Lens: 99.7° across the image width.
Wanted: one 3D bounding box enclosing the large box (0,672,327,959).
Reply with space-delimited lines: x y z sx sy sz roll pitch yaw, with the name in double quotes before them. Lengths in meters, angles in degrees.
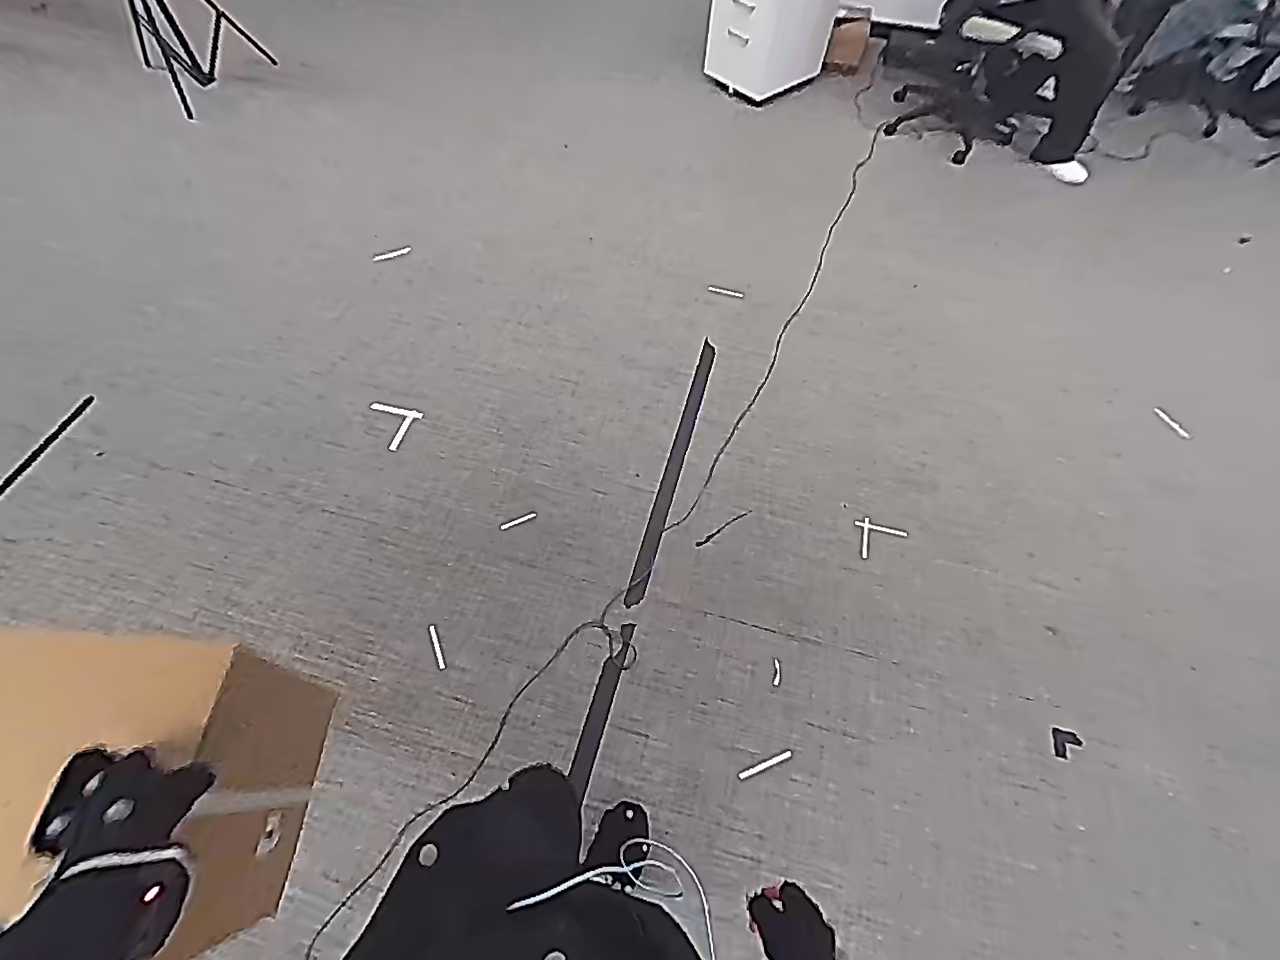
"large box" -0.649 0.429 0.673 0.320 0.408 0.320 6 59 -11
